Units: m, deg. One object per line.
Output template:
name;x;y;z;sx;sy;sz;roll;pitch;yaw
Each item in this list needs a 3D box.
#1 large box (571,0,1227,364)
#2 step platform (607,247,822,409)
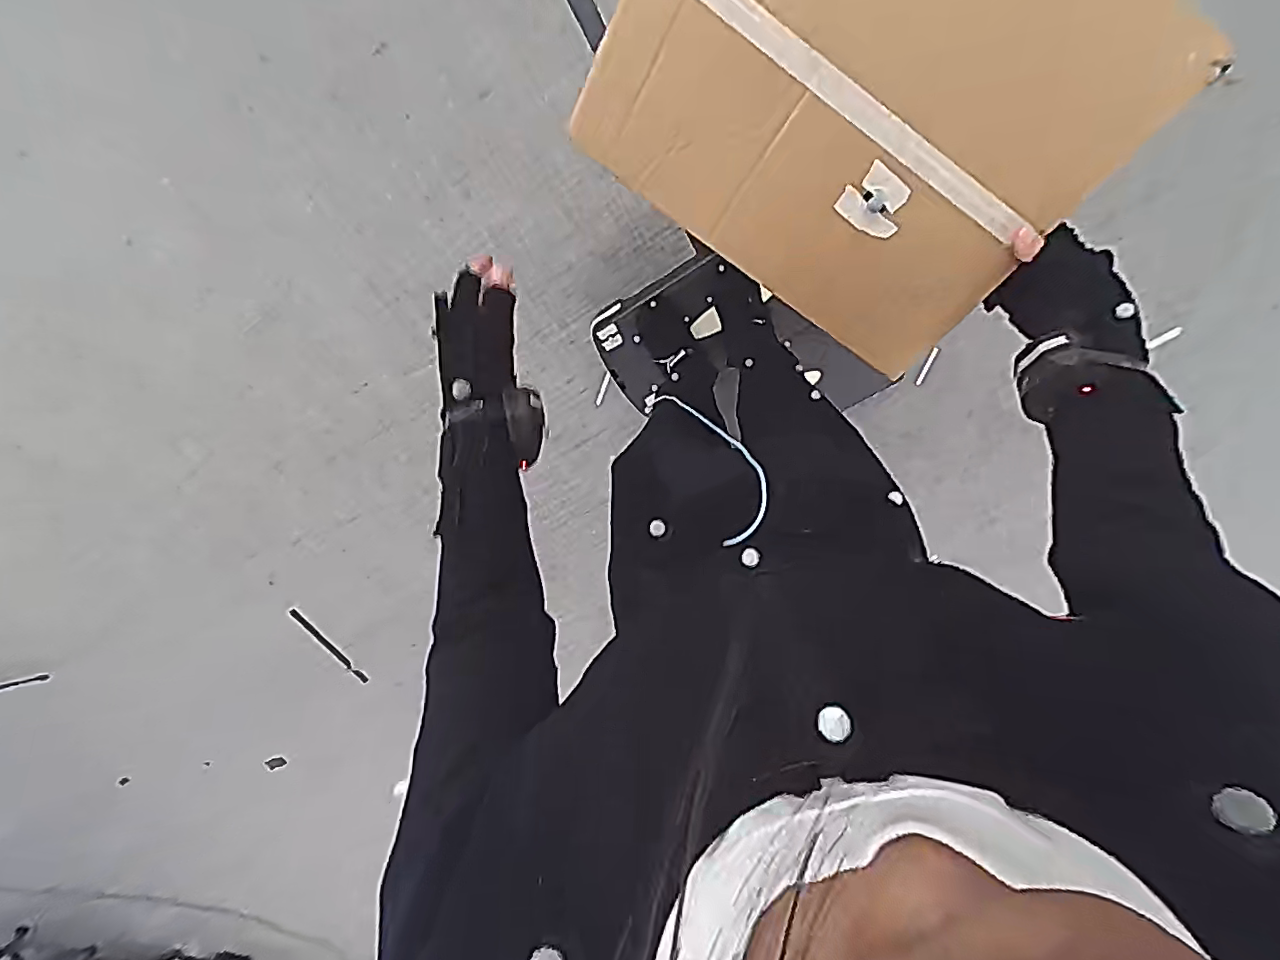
large box;0.203;-0.399;0.559;0.408;0.320;0.320;31;128;-8
step platform;0.255;-0.464;1.357;0.684;0.204;0.286;-30;112;14
